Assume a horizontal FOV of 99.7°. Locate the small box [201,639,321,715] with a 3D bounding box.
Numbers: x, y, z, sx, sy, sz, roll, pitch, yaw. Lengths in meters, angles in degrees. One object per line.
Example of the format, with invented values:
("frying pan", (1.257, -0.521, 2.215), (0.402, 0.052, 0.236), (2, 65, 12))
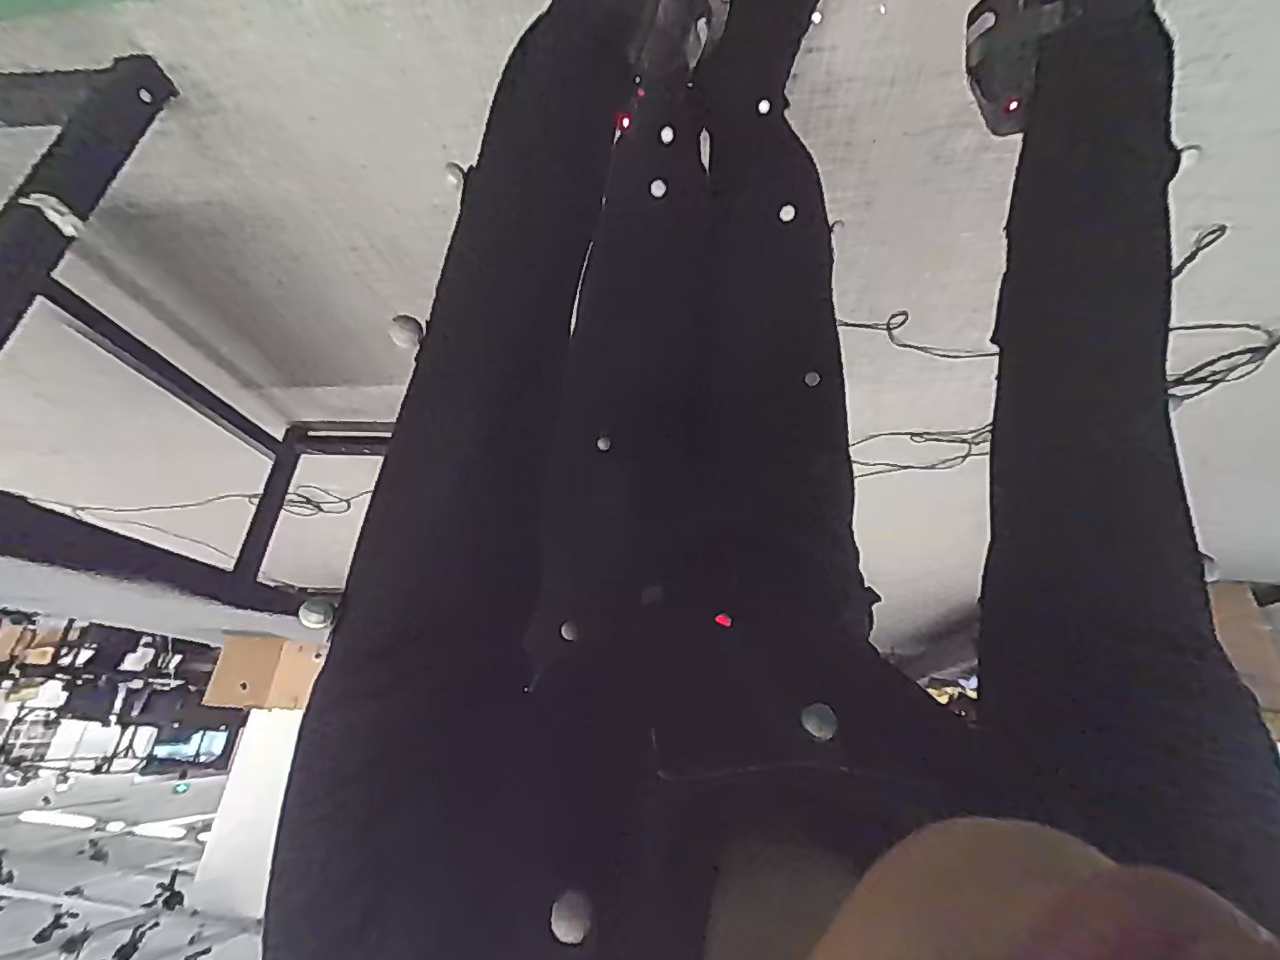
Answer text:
("small box", (-0.960, 0.507, 1.393), (0.179, 0.176, 0.168), (0, 155, 10))
